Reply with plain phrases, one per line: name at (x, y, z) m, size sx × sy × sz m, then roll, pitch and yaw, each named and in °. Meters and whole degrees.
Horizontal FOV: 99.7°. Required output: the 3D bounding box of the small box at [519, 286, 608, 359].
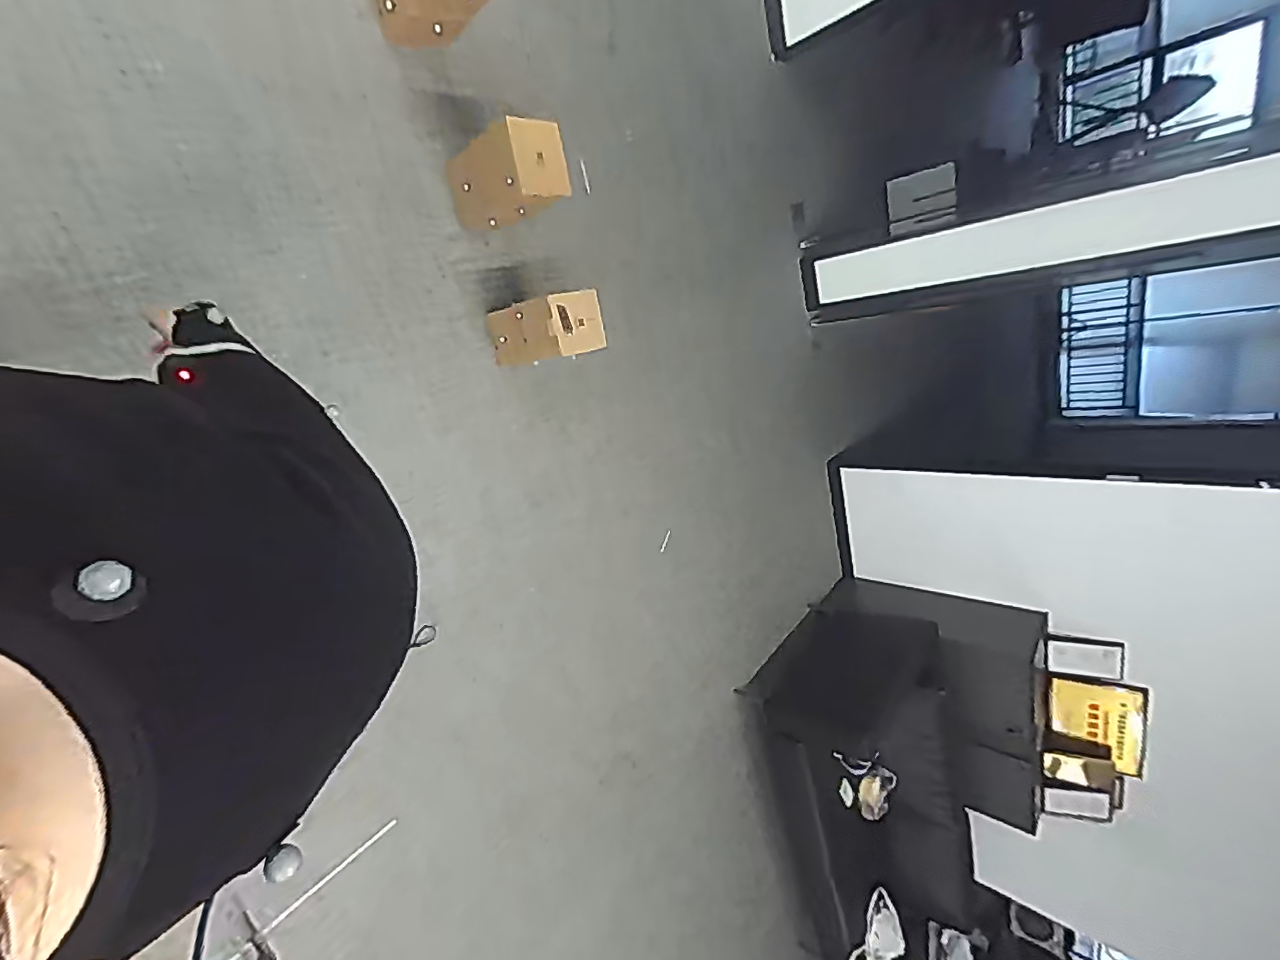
small box at (-0.224, -0.445, 1.542) m, size 0.179 × 0.176 × 0.168 m, roll -27°, pitch 113°, yaw -41°

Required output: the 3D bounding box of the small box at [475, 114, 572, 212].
small box at (-0.309, -0.823, 1.421) m, size 0.168 × 0.176 × 0.179 m, roll -27°, pitch 112°, yaw -41°

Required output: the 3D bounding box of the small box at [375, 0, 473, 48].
small box at (-0.561, -1.228, 1.362) m, size 0.179 × 0.176 × 0.168 m, roll -33°, pitch 117°, yaw -39°

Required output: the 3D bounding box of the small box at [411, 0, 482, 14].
small box at (-0.447, -1.217, 1.244) m, size 0.179 × 0.176 × 0.168 m, roll -34°, pitch 118°, yaw -38°

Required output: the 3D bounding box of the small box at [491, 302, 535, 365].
small box at (-0.337, -0.457, 1.662) m, size 0.179 × 0.176 × 0.168 m, roll -28°, pitch 113°, yaw -39°
